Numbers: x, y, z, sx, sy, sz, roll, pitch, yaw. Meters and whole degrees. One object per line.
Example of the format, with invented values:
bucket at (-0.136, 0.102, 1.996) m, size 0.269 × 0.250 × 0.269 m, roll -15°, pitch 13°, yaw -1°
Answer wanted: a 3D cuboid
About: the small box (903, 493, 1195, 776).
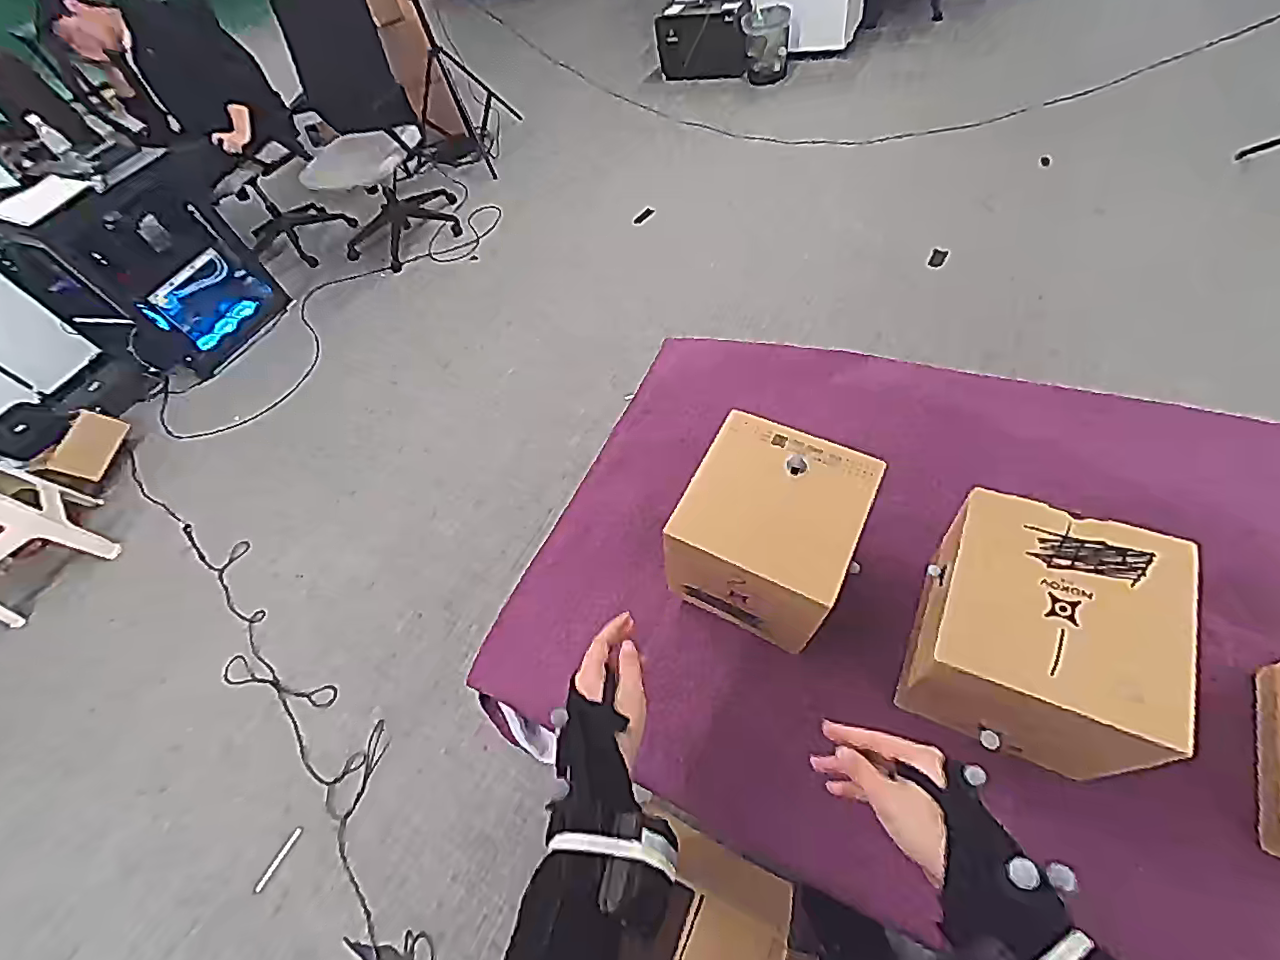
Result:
small box at (0.363, 0.146, 0.507) m, size 0.168 × 0.176 × 0.179 m, roll 18°, pitch 62°, yaw 24°
